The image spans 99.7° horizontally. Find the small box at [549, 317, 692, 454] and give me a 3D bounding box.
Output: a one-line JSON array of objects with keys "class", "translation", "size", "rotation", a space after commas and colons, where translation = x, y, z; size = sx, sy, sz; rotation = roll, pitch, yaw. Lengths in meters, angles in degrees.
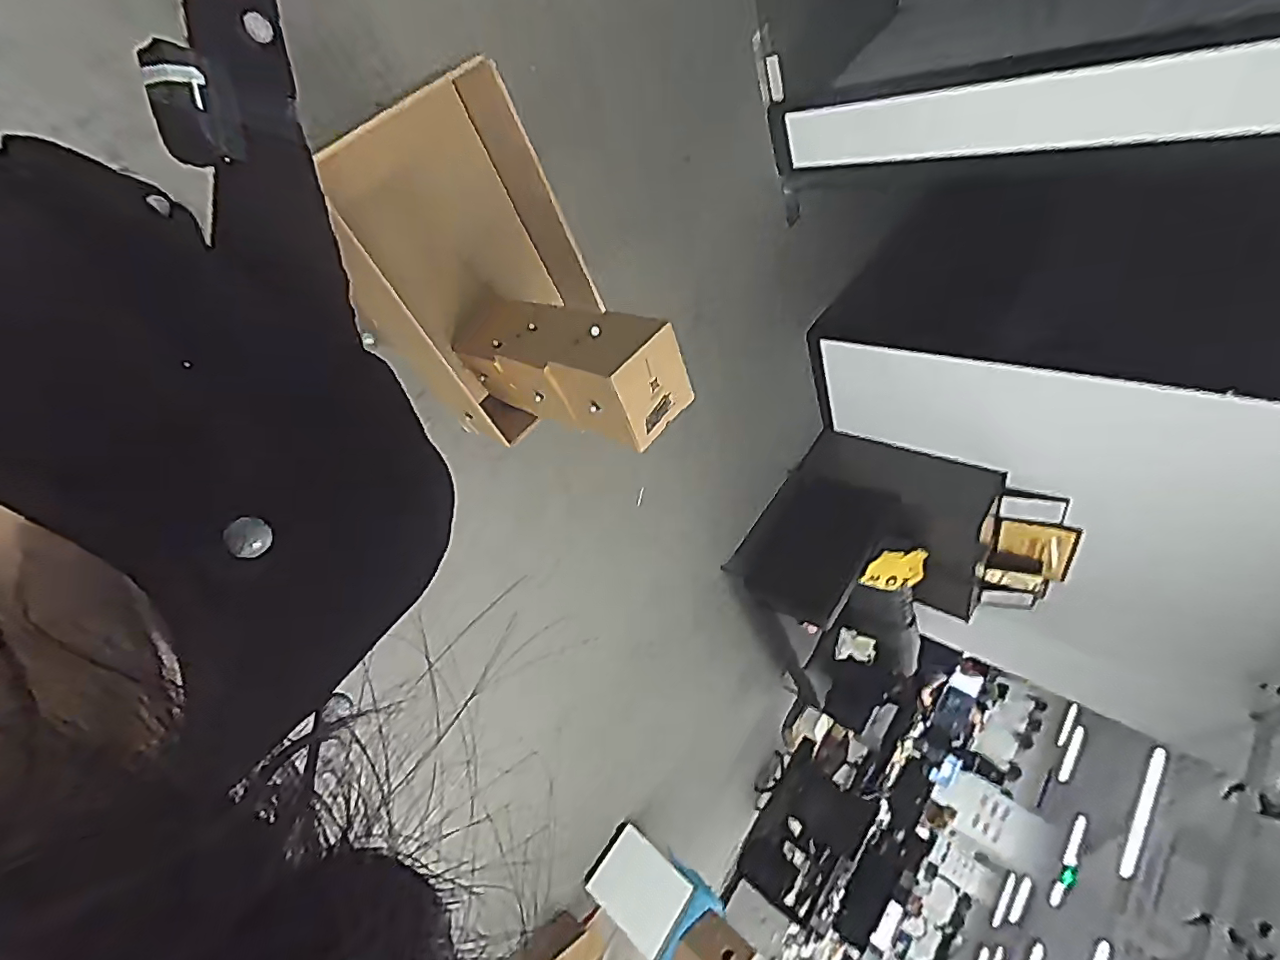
[{"class": "small box", "translation": [-0.033, -0.180, 0.998], "size": [0.168, 0.176, 0.179], "rotation": [-47, 136, -24]}]
